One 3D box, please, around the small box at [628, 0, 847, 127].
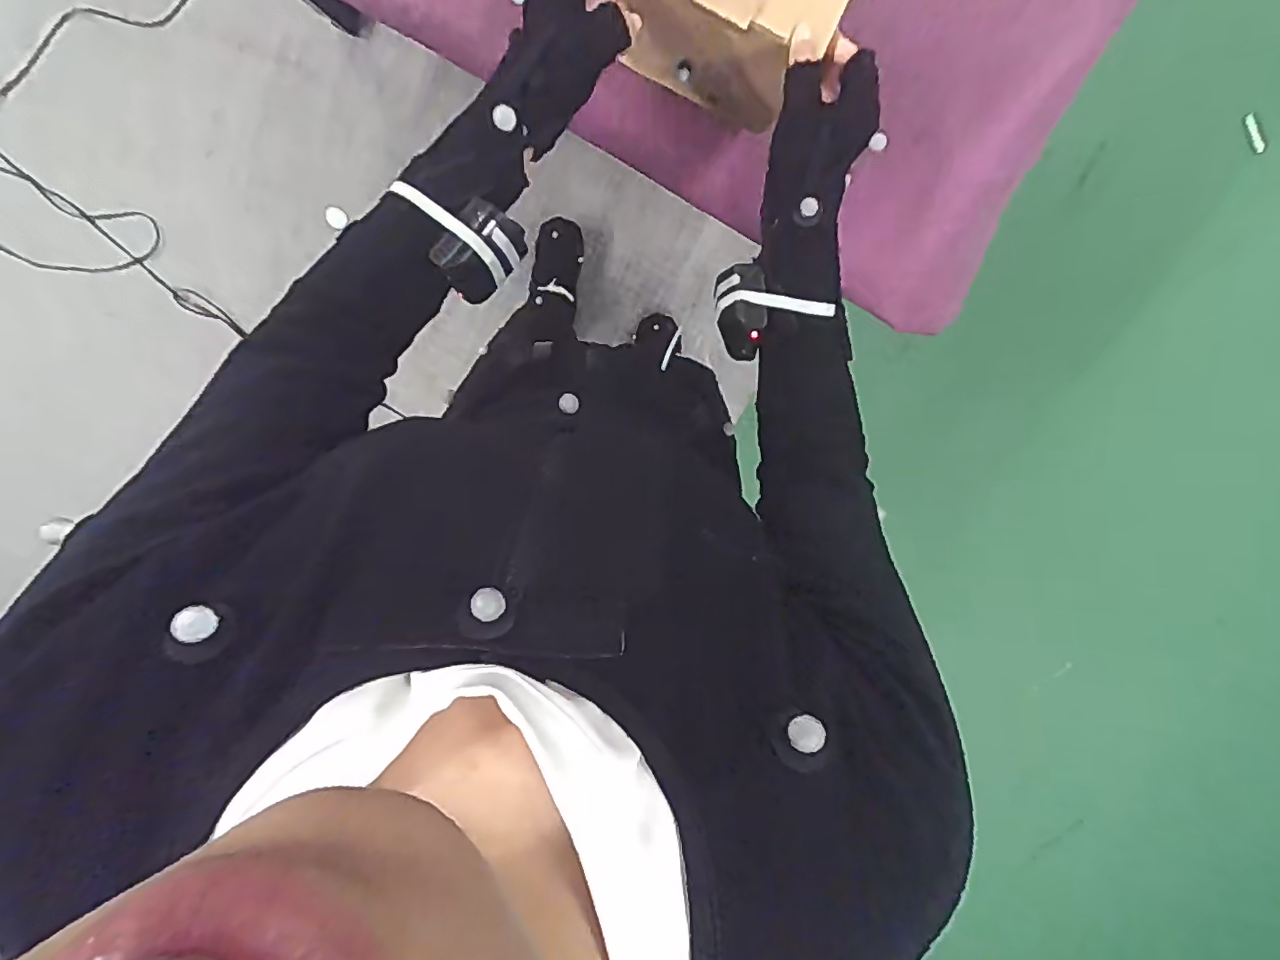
[{"bbox_3d":[0.093,-0.444,0.450,0.168,0.176,0.179,23,105,-8],"label":"small box"}]
